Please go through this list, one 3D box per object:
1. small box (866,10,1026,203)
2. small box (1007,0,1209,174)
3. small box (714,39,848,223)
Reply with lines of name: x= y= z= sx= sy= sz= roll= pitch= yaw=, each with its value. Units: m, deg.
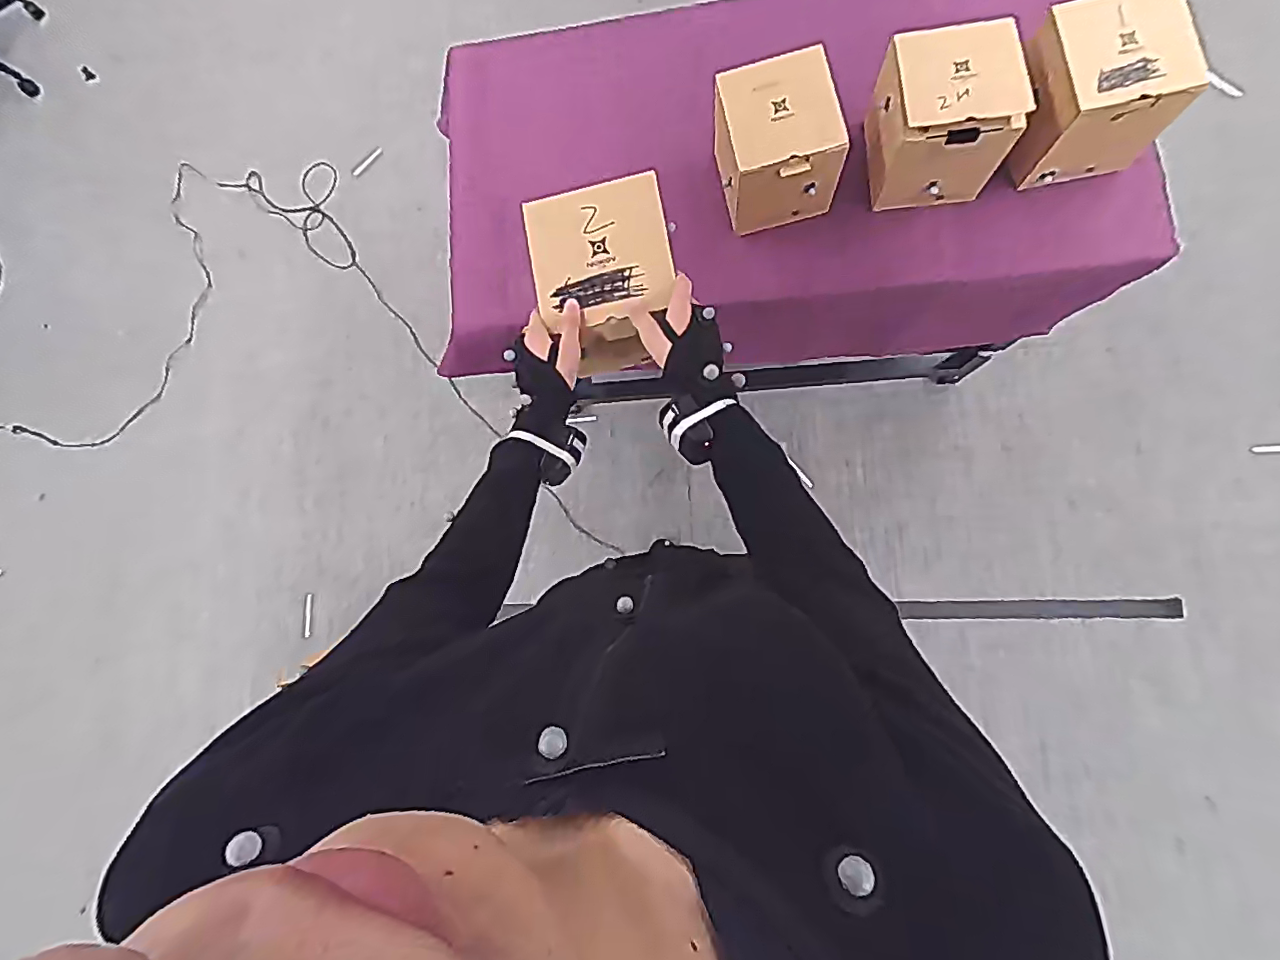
small box: x=0.464 y=-0.571 z=0.848 sx=0.168 sy=0.176 sz=0.179 roll=-3 pitch=83 yaw=8
small box: x=0.681 y=-0.598 z=0.820 sx=0.168 sy=0.176 sz=0.179 roll=-9 pitch=81 yaw=7
small box: x=0.220 y=-0.550 z=0.882 sx=0.168 sy=0.176 sz=0.179 roll=-12 pitch=81 yaw=6
